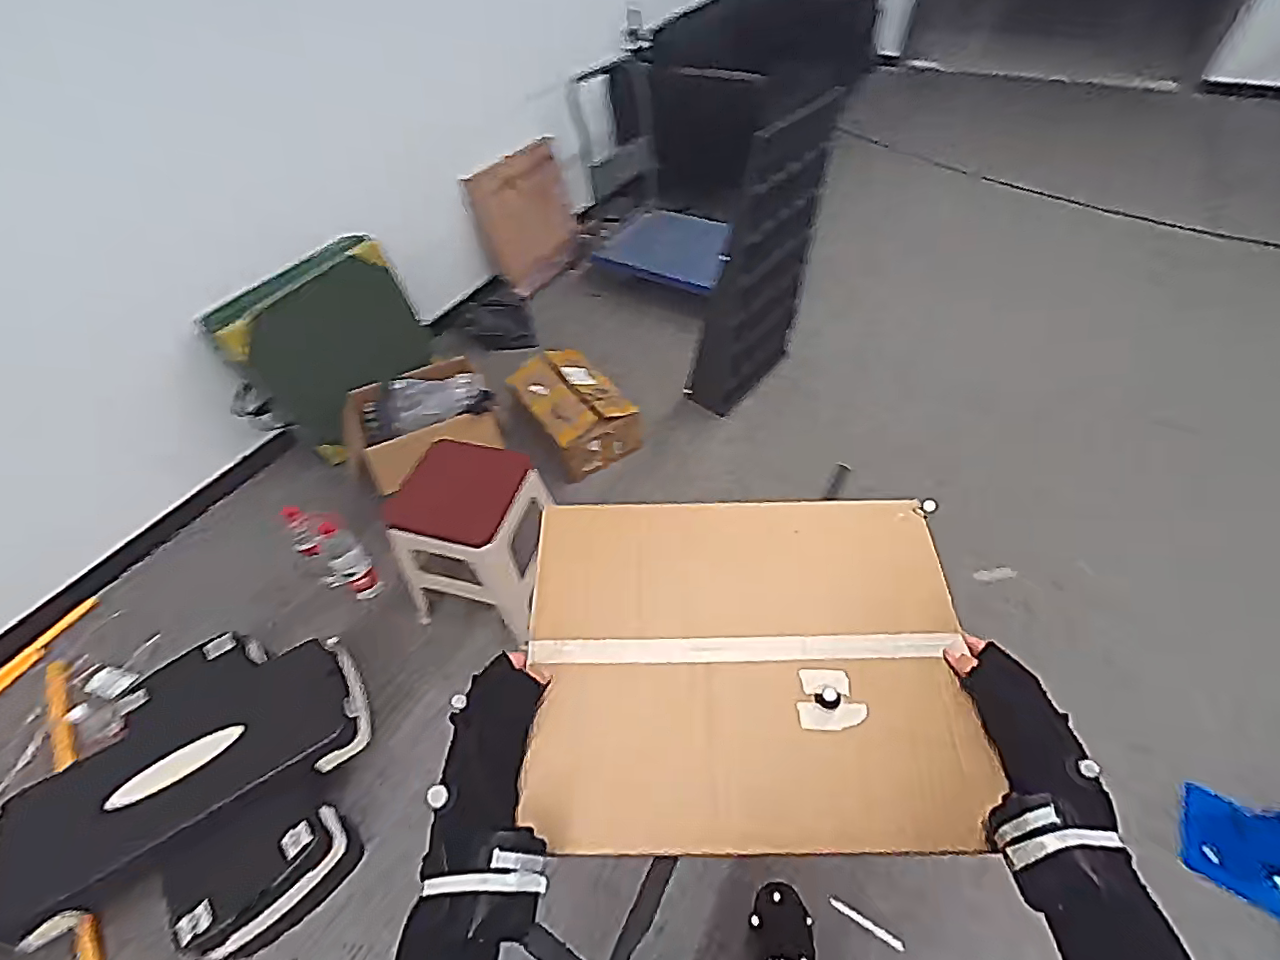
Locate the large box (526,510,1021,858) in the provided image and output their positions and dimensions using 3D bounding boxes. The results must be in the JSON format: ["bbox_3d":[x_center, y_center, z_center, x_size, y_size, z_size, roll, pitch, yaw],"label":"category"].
[{"bbox_3d":[0.106,0.244,0.633,0.408,0.320,0.320,0,58,1],"label":"large box"}]

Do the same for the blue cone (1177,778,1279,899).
[{"bbox_3d":[1.300,0.680,1.072,0.193,0.380,0.192,26,55,23],"label":"blue cone"}]
